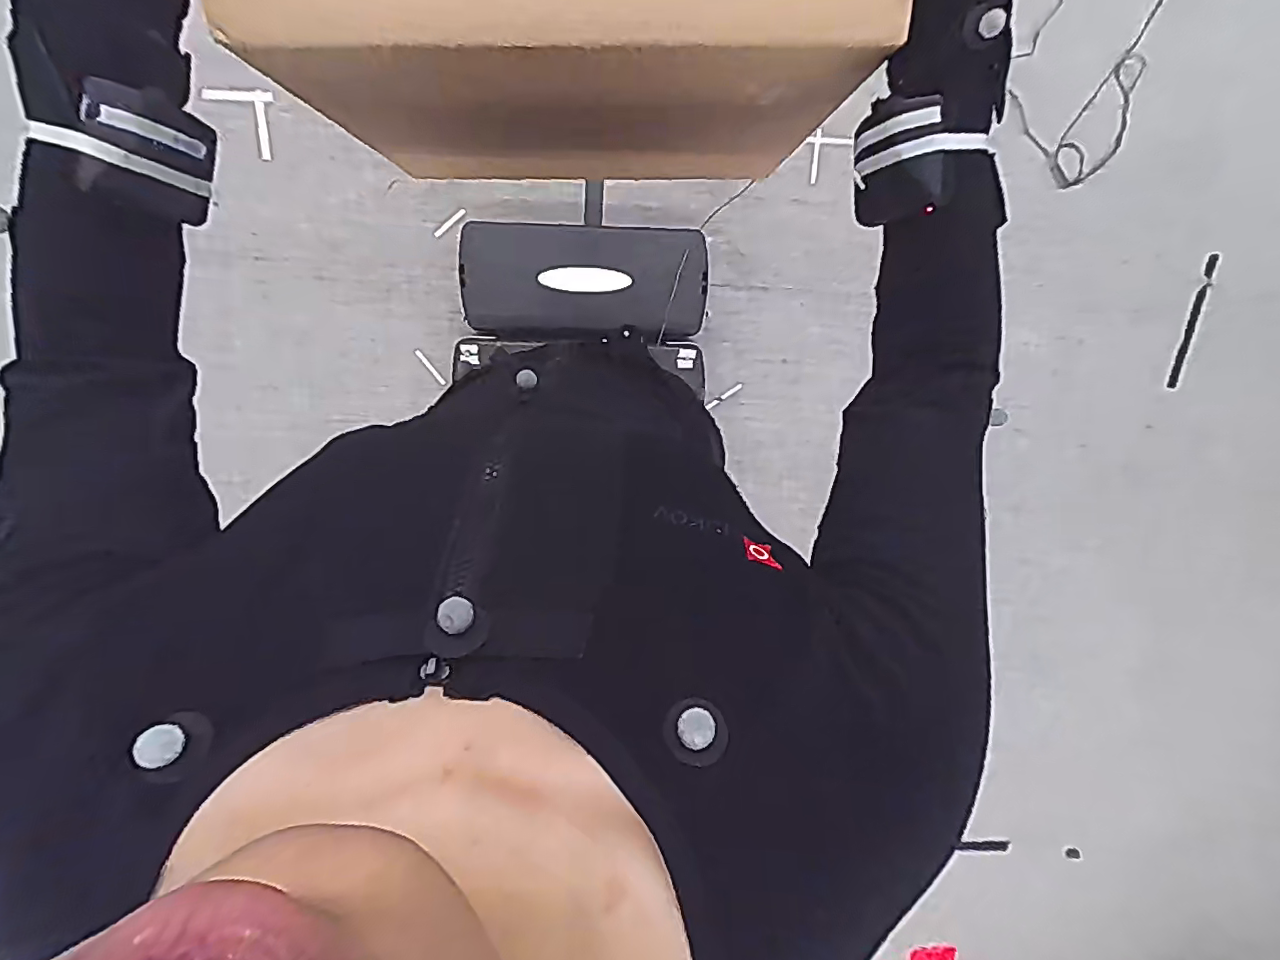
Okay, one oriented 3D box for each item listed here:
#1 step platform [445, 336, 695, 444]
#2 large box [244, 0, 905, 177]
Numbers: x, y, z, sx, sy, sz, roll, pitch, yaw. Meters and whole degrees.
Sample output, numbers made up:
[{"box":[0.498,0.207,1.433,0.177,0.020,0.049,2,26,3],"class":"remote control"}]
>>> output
[{"box":[-0.187,-0.253,1.520,0.684,0.204,0.286,1,104,-2],"class":"step platform"},{"box":[-0.047,-0.454,0.431,0.408,0.320,0.320,-2,107,-2],"class":"large box"}]
